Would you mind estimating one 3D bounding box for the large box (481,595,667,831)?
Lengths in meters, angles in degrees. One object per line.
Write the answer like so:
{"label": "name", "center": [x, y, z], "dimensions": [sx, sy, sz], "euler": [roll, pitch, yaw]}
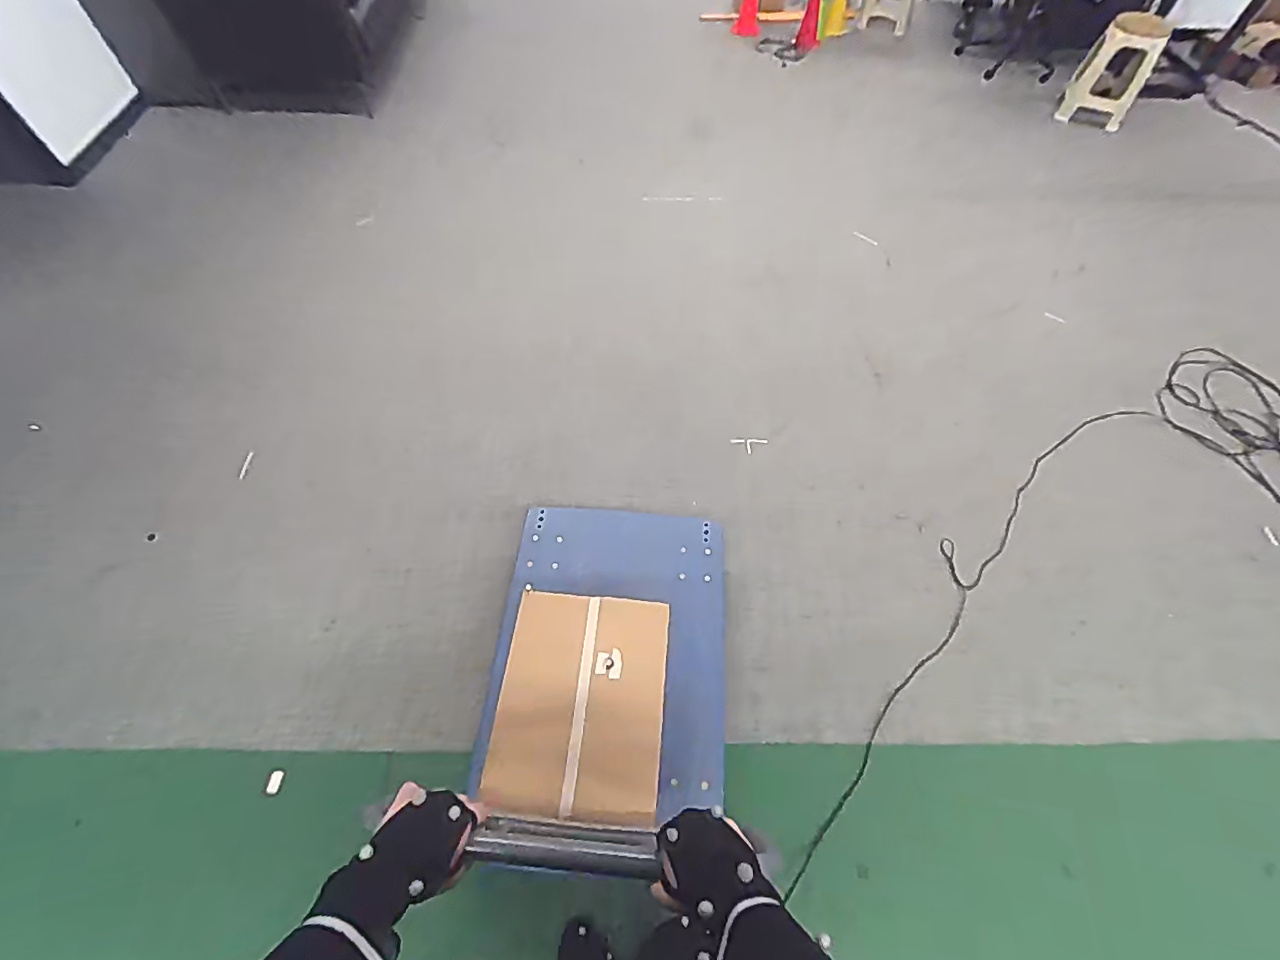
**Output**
{"label": "large box", "center": [-0.112, 0.503, 1.159], "dimensions": [0.320, 0.320, 0.408], "euler": [5, 56, 1]}
